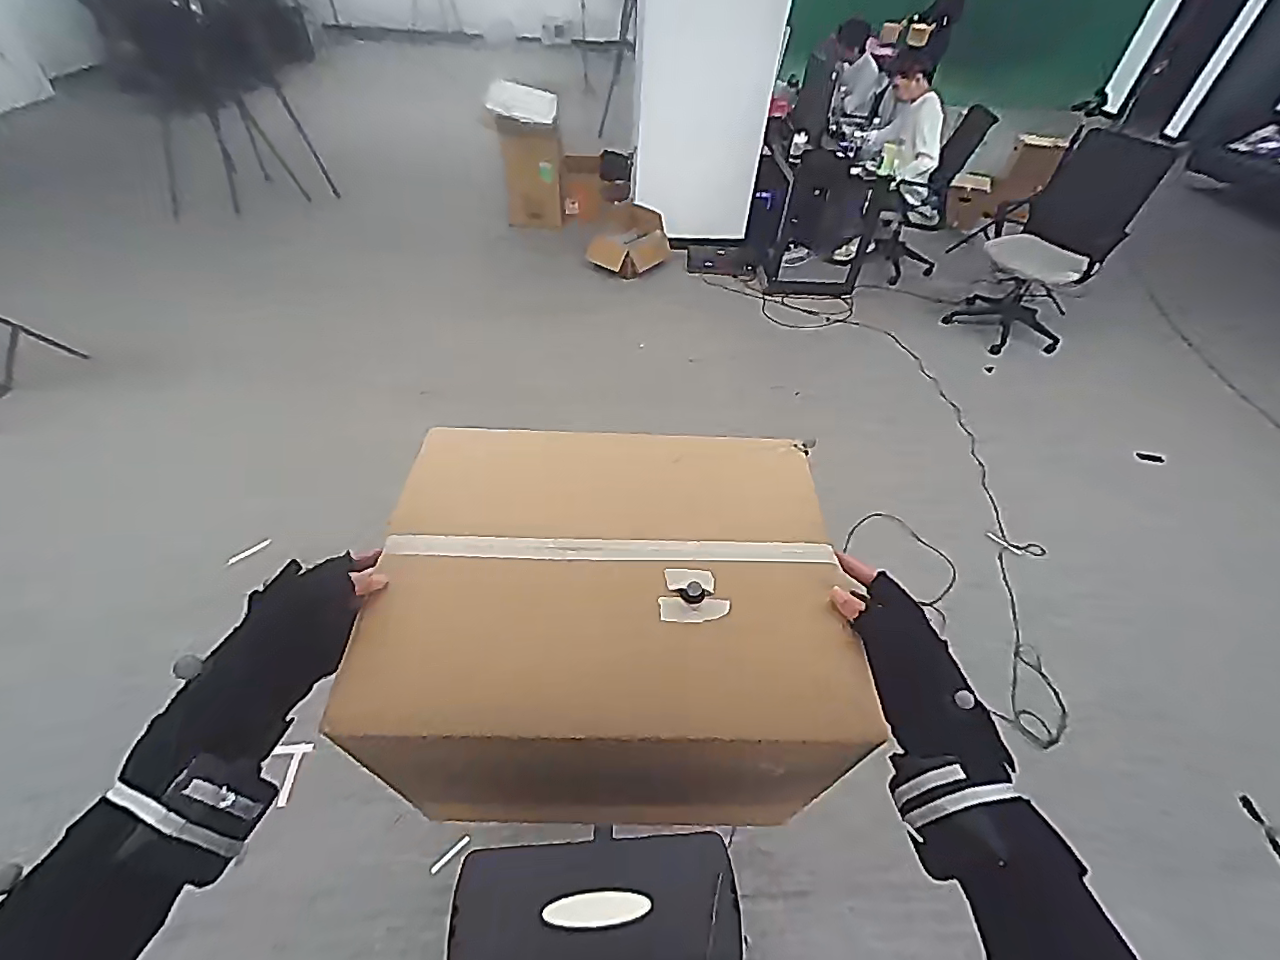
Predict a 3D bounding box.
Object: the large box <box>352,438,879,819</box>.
[{"bbox_3d":[-0.025,0.171,0.609,0.408,0.320,0.320,2,49,-3],"label":"large box"}]
